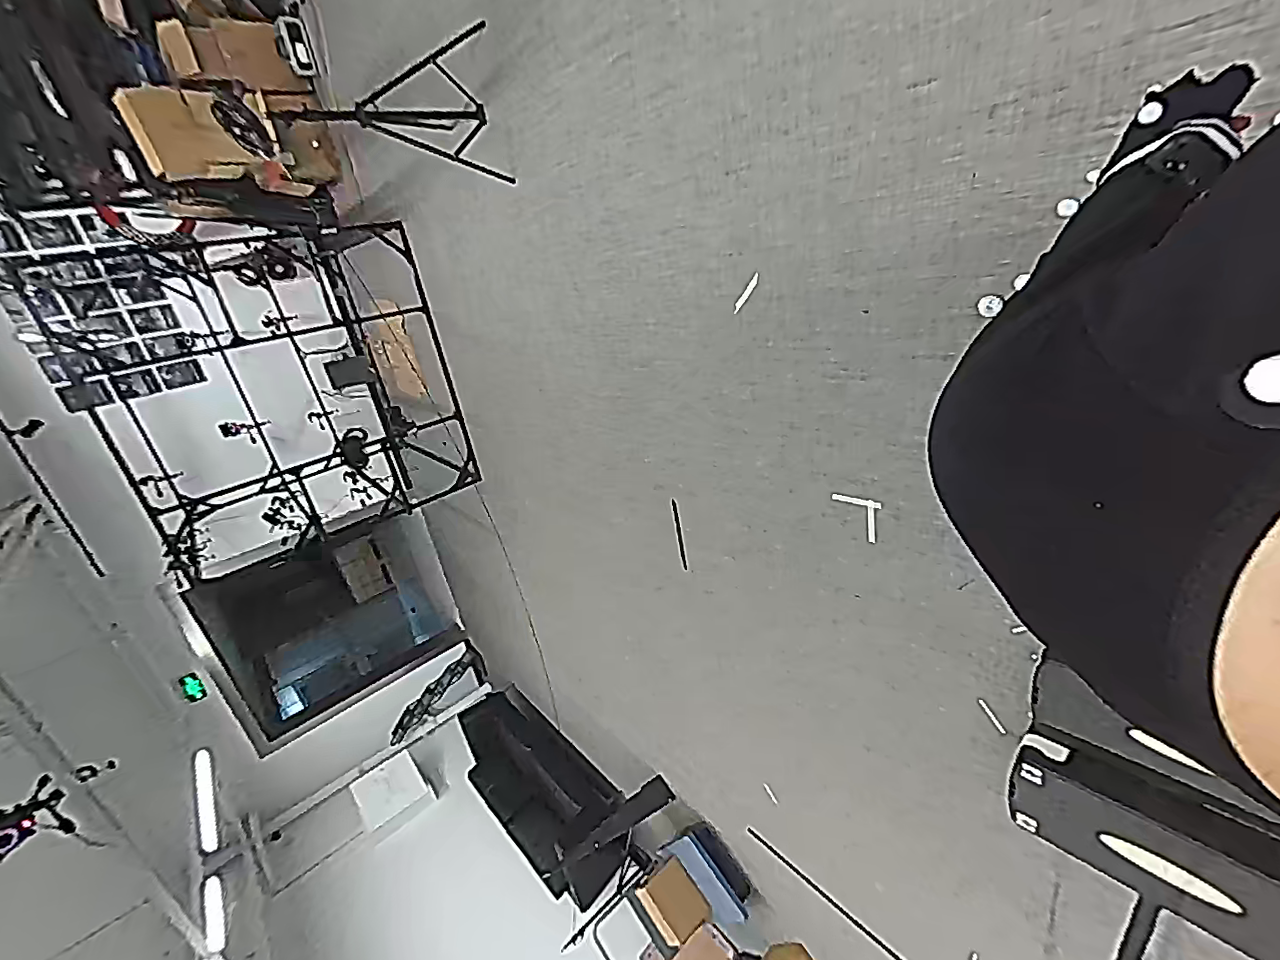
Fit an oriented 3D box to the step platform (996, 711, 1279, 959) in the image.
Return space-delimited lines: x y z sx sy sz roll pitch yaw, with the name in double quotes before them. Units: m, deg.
"step platform" 1.314 0.900 1.377 0.684 0.204 0.286 17 125 50
